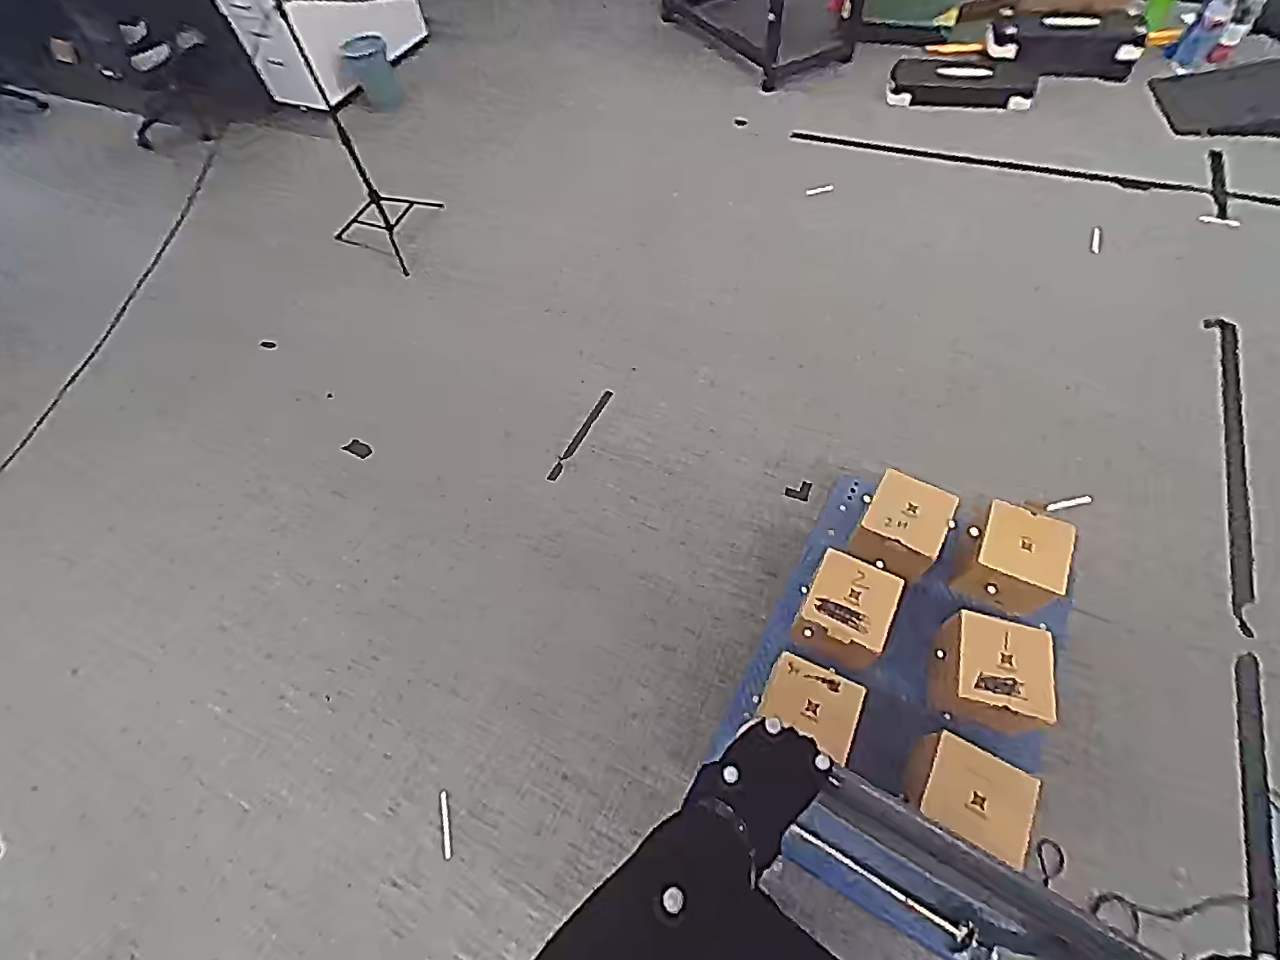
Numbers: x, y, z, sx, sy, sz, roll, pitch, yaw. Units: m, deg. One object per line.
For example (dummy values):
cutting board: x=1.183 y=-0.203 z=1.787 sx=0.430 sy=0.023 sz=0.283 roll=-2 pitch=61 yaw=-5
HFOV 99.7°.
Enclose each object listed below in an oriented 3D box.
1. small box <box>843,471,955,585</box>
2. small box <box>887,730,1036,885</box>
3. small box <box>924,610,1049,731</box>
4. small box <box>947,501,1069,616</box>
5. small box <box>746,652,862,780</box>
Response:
small box: x=0.604 y=0.116 z=1.280 sx=0.168 sy=0.176 sz=0.179 roll=27 pitch=65 yaw=20
small box: x=0.579 y=0.596 z=0.995 sx=0.168 sy=0.176 sz=0.179 roll=26 pitch=64 yaw=18
small box: x=0.698 y=0.395 z=1.105 sx=0.168 sy=0.176 sz=0.179 roll=14 pitch=60 yaw=13
small box: x=0.822 y=0.183 z=1.223 sx=0.168 sy=0.176 sz=0.179 roll=22 pitch=63 yaw=18
small box: x=0.321 y=0.478 z=1.087 sx=0.168 sy=0.176 sz=0.179 roll=22 pitch=64 yaw=16
